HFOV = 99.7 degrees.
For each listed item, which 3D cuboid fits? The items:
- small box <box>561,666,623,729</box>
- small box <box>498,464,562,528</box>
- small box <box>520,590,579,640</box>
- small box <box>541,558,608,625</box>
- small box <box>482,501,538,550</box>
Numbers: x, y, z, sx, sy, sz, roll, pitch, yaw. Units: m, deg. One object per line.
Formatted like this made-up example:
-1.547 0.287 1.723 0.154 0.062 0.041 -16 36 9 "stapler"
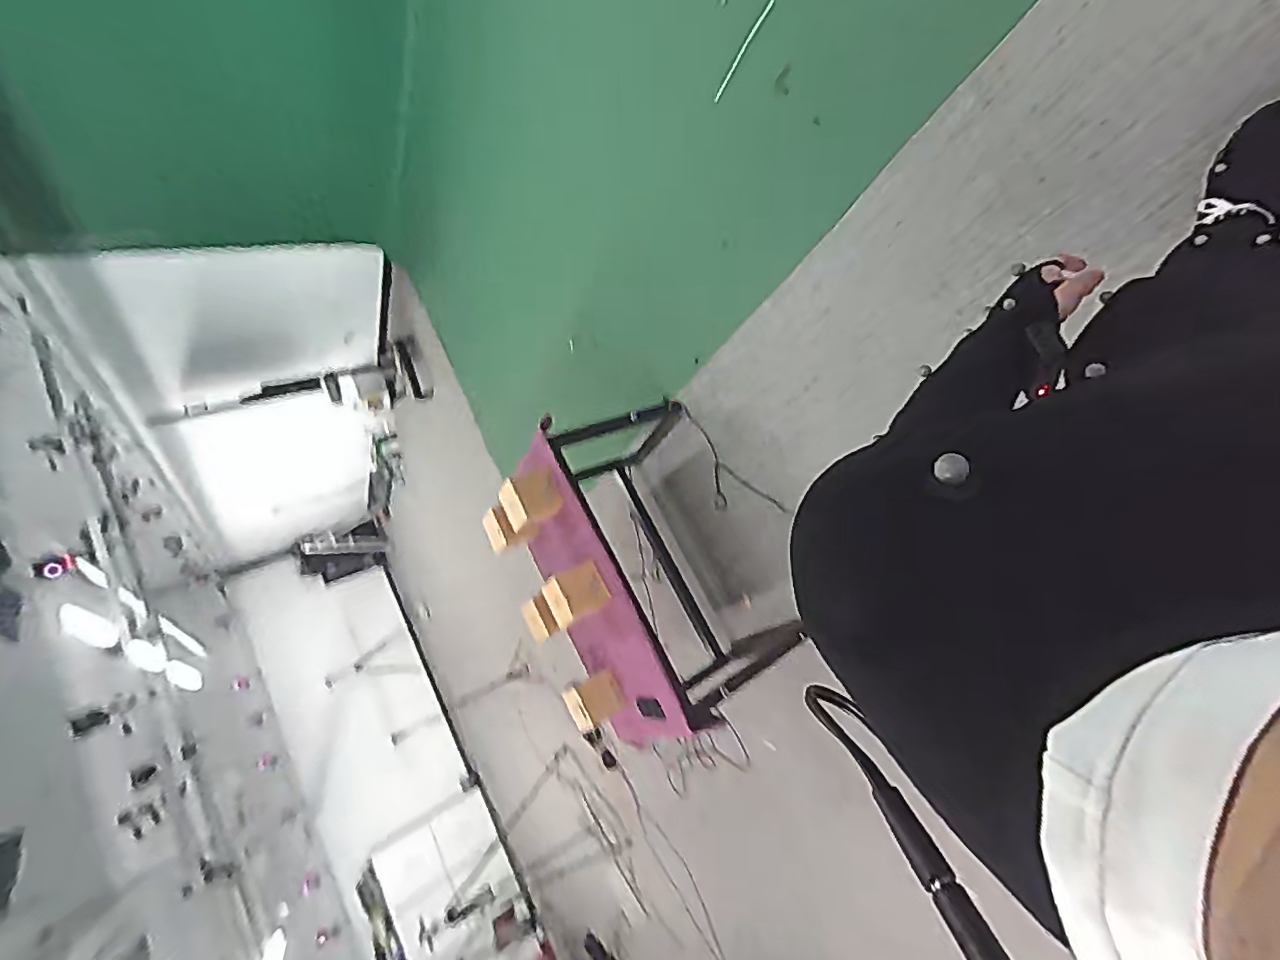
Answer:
-0.188 0.869 2.168 0.168 0.176 0.179 60 145 15 "small box"
-0.421 0.062 2.078 0.168 0.176 0.179 62 145 9 "small box"
-0.378 0.546 2.272 0.168 0.176 0.179 61 144 12 "small box"
-0.242 0.415 2.016 0.168 0.176 0.179 61 145 13 "small box"
-0.559 0.183 2.337 0.168 0.176 0.179 63 145 9 "small box"
